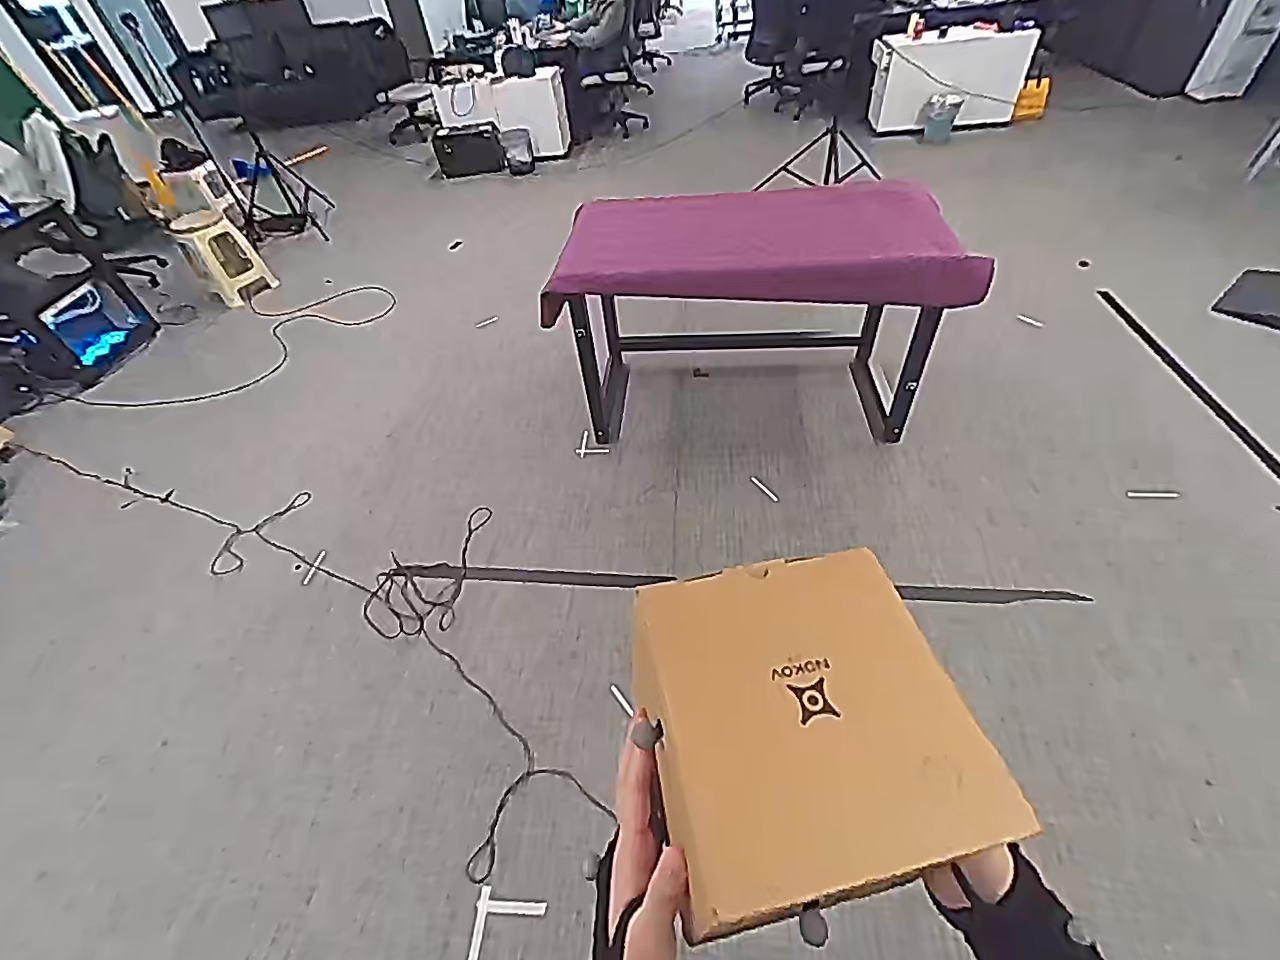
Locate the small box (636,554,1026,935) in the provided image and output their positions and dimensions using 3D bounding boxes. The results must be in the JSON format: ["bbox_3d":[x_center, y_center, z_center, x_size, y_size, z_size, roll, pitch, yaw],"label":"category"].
[{"bbox_3d":[0.095,0.180,0.367,0.168,0.176,0.179,-8,46,-9],"label":"small box"}]
